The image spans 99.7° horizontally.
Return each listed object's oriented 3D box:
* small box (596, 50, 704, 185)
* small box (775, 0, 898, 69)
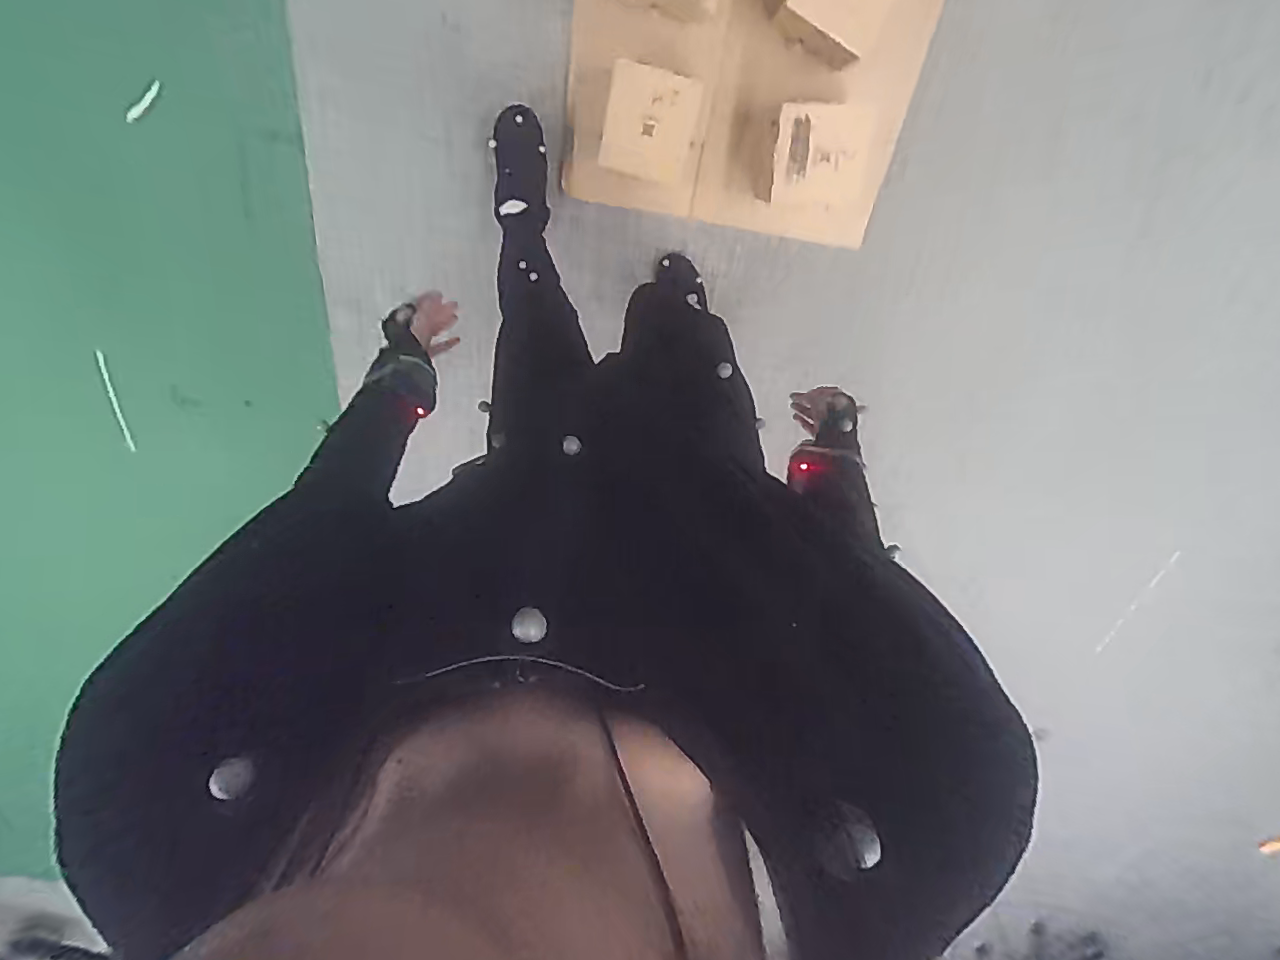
[{"bbox_3d":[0.019,-0.703,1.066,0.168,0.176,0.179,14,120,-6],"label":"small box"},{"bbox_3d":[0.358,-0.871,0.951,0.168,0.176,0.179,26,119,-12],"label":"small box"}]
